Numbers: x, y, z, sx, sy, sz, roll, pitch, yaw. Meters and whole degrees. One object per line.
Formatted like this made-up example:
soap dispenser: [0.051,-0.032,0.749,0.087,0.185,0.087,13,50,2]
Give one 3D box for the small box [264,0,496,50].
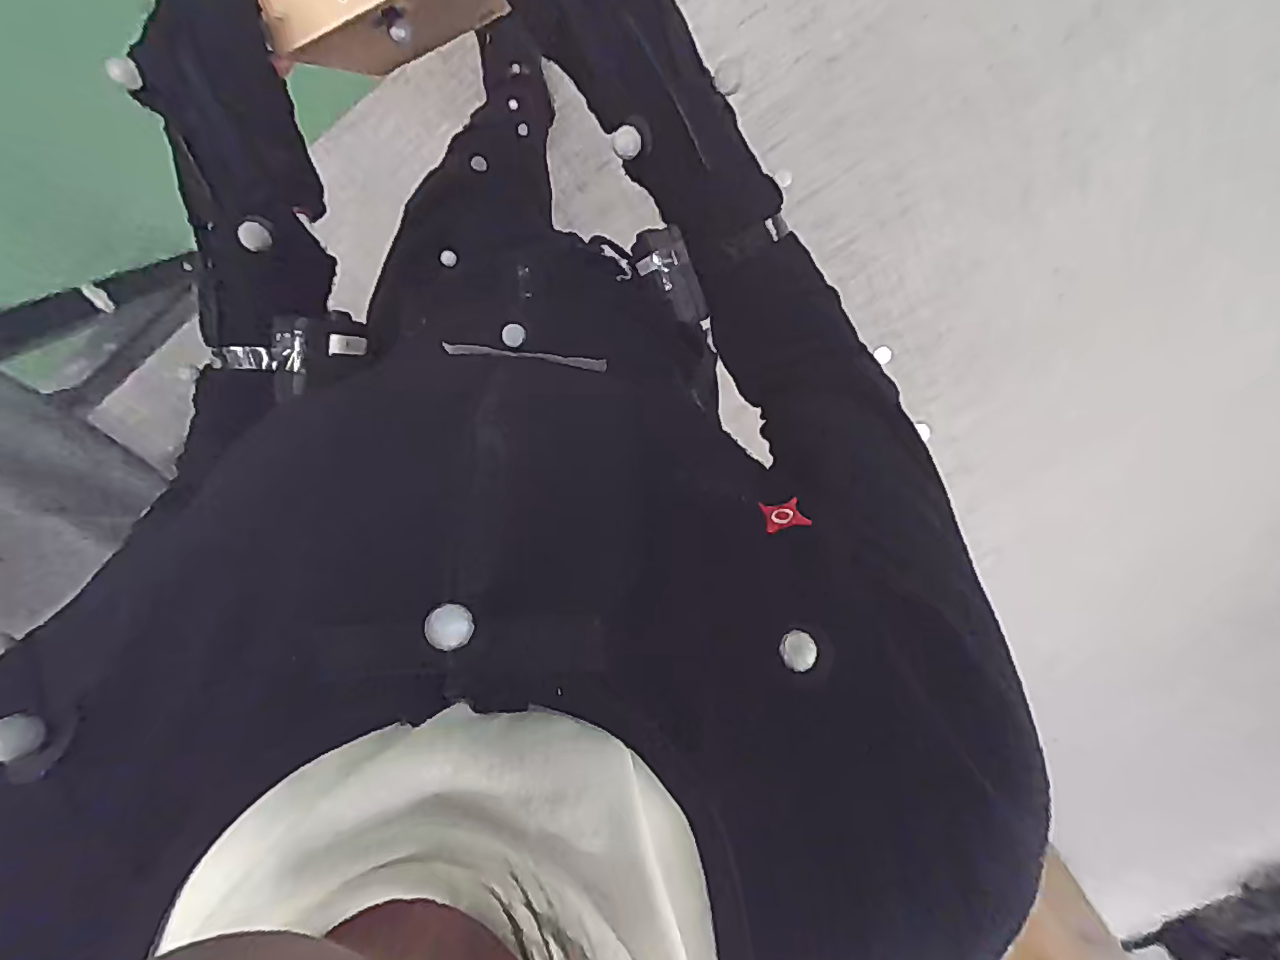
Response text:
small box: [-0.157,-0.385,0.306,0.168,0.176,0.179,-19,124,8]
